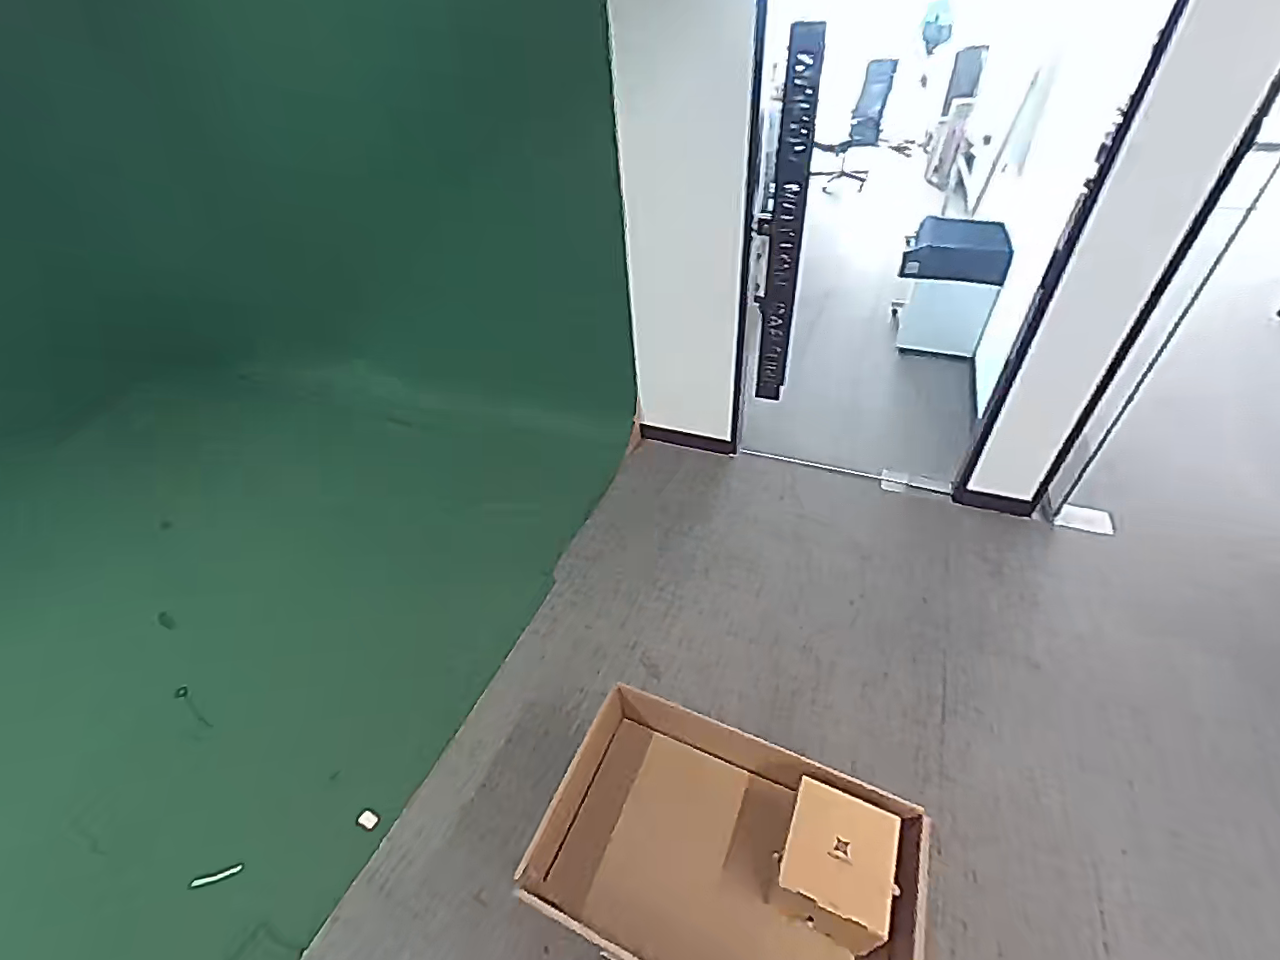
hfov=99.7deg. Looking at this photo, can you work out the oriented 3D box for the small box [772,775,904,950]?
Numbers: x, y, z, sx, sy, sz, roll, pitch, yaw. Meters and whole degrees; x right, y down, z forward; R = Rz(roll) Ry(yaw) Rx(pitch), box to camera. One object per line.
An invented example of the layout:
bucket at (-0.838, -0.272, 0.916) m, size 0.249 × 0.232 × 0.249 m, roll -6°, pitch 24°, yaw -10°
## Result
small box at (0.334, 0.655, 0.928) m, size 0.168 × 0.176 × 0.179 m, roll 16°, pitch 47°, yaw 20°
